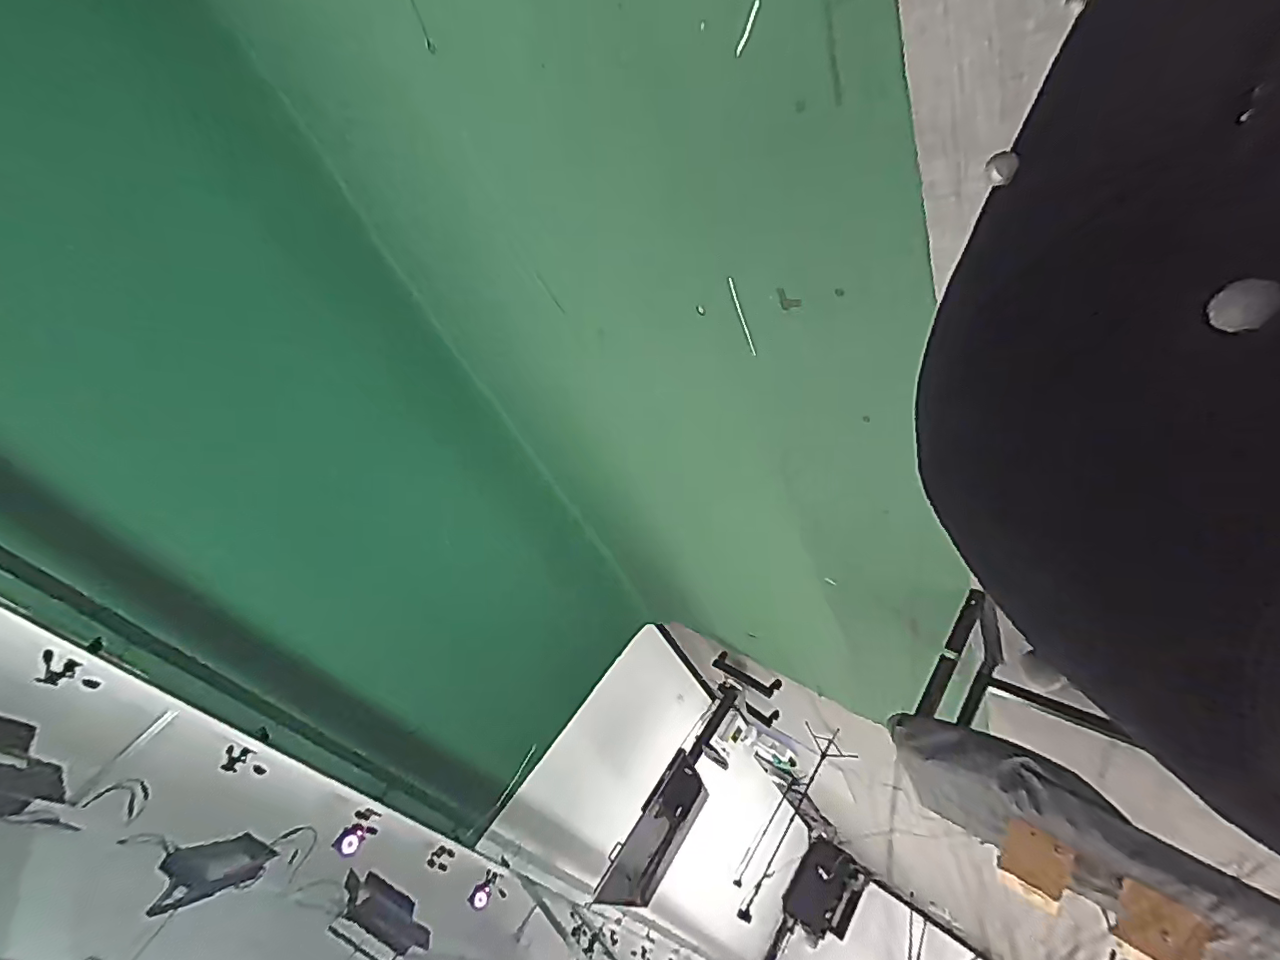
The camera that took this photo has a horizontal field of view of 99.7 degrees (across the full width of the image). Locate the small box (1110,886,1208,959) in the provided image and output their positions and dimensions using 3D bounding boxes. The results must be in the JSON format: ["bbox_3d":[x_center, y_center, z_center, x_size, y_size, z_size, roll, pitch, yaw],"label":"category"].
[{"bbox_3d":[1.435,1.279,1.497,0.179,0.176,0.168,11,142,46],"label":"small box"}]

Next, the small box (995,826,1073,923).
[{"bbox_3d":[1.239,1.233,1.700,0.168,0.176,0.179,14,145,45],"label":"small box"}]
